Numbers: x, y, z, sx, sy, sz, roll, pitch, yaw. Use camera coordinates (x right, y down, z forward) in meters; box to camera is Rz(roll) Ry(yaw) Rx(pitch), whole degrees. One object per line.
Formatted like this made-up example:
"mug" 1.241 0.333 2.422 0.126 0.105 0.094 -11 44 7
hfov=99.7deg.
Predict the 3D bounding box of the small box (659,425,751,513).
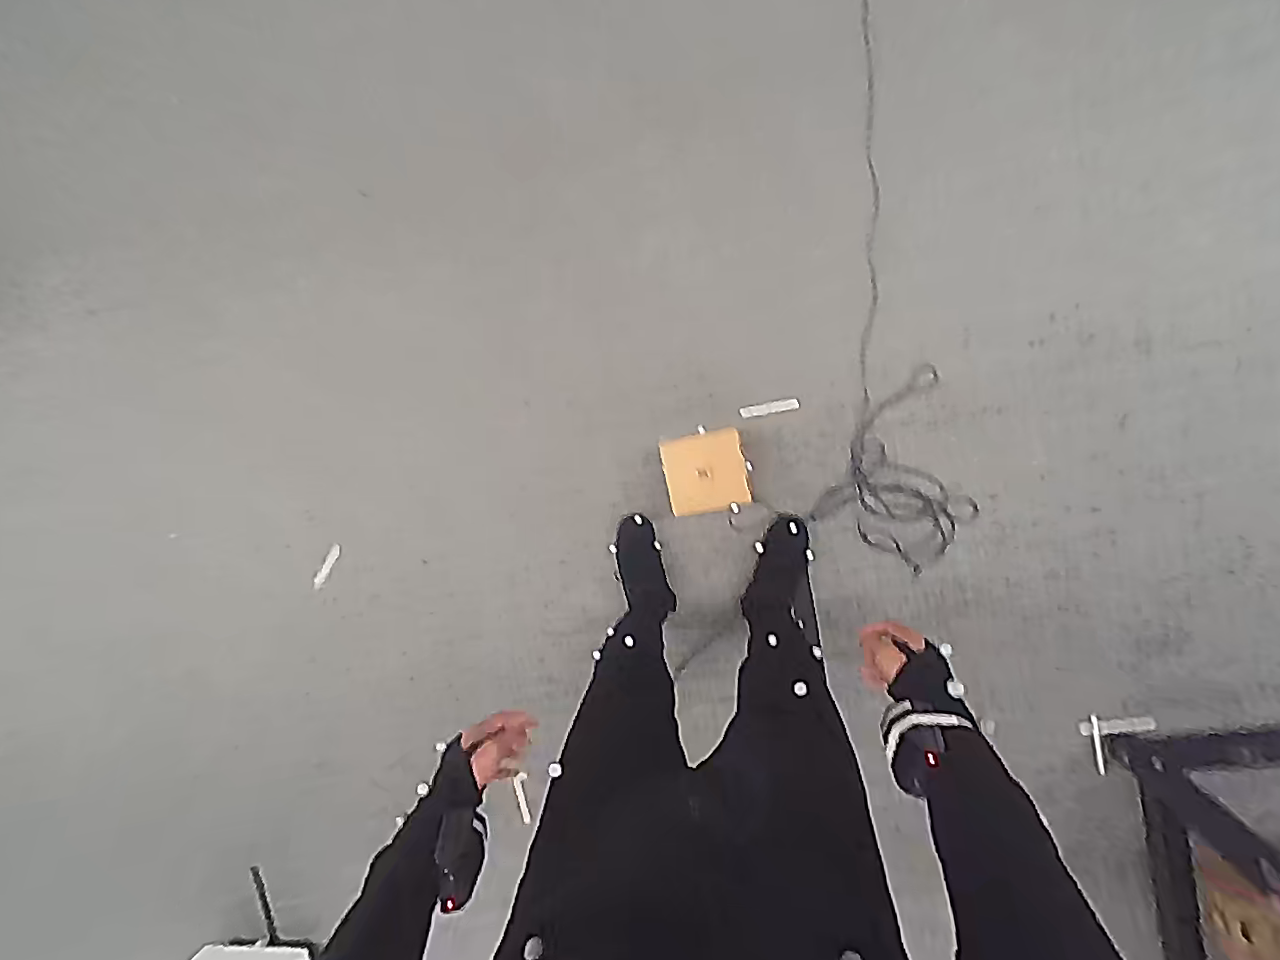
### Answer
"small box" 0.155 -0.030 1.241 0.179 0.176 0.168 -12 95 12
